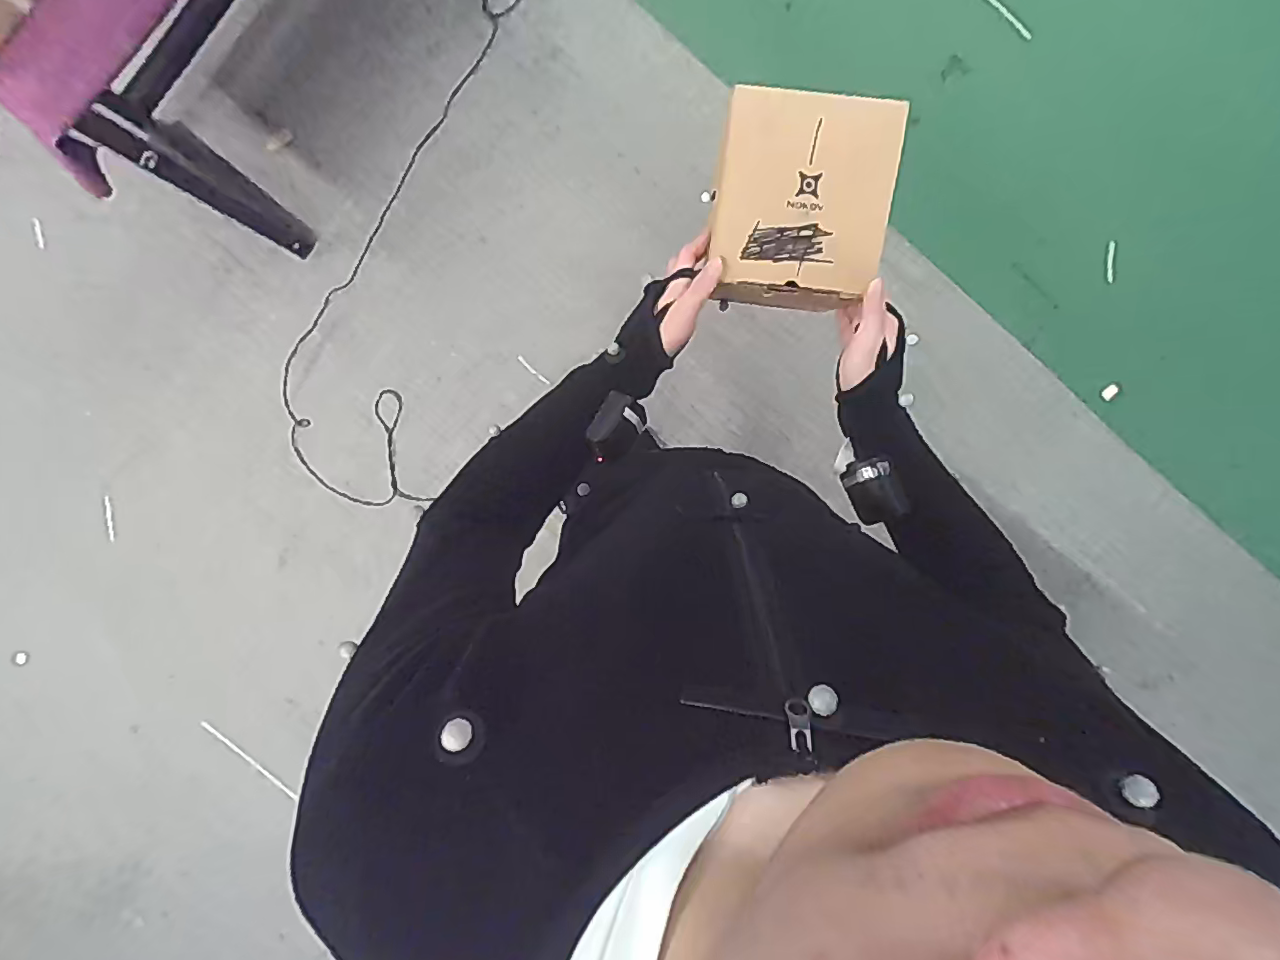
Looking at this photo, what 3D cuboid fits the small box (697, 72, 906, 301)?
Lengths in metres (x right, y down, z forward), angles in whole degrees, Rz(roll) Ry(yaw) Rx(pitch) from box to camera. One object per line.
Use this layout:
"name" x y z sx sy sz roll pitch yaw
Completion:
"small box" 0.156 -0.298 0.589 0.168 0.176 0.179 6 102 0
